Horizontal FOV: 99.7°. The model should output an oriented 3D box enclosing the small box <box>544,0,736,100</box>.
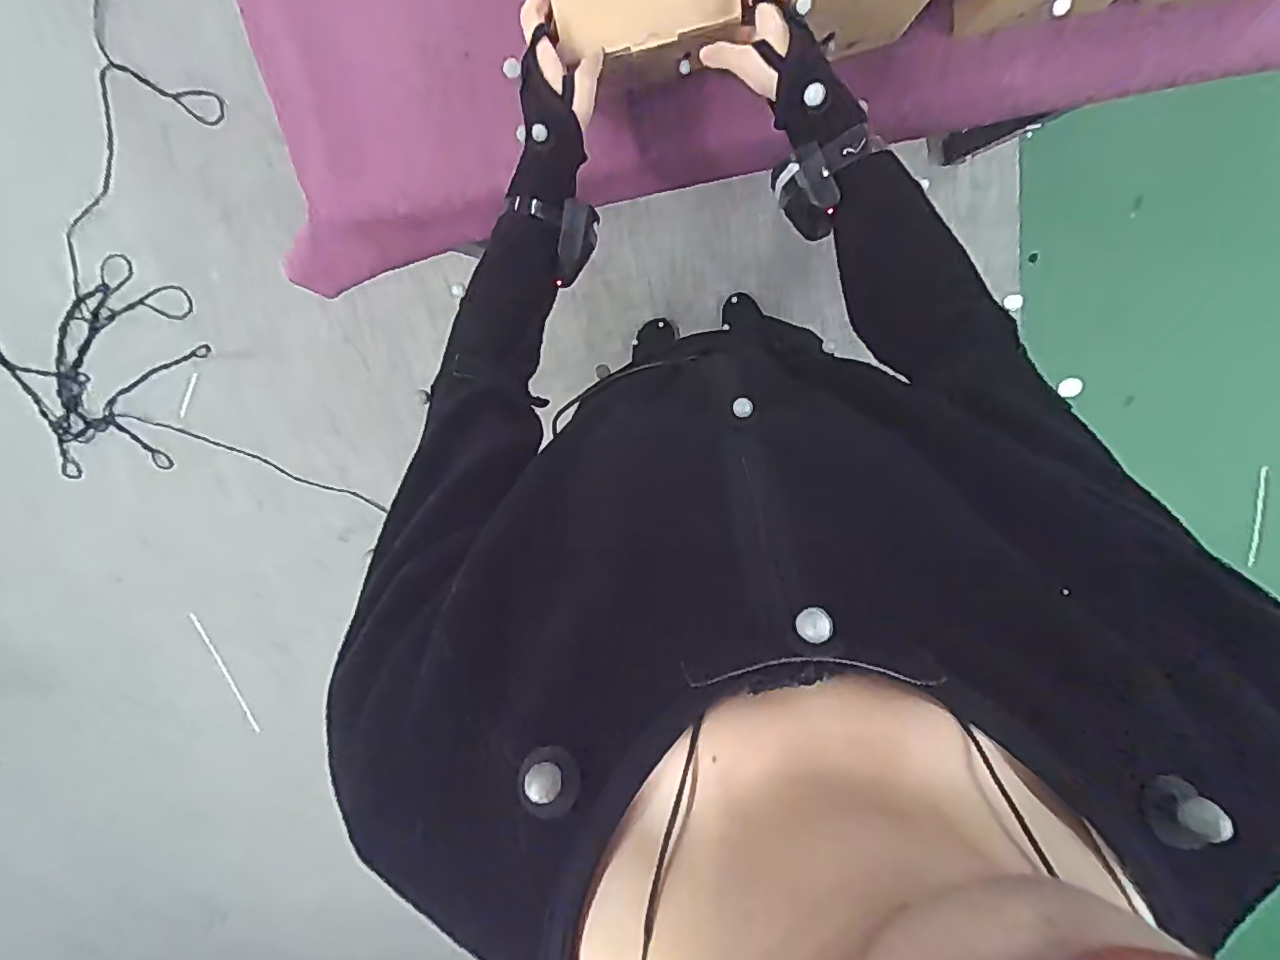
[{"bbox_3d":[-0.010,-0.494,0.524,0.168,0.176,0.179,-12,116,4],"label":"small box"}]
